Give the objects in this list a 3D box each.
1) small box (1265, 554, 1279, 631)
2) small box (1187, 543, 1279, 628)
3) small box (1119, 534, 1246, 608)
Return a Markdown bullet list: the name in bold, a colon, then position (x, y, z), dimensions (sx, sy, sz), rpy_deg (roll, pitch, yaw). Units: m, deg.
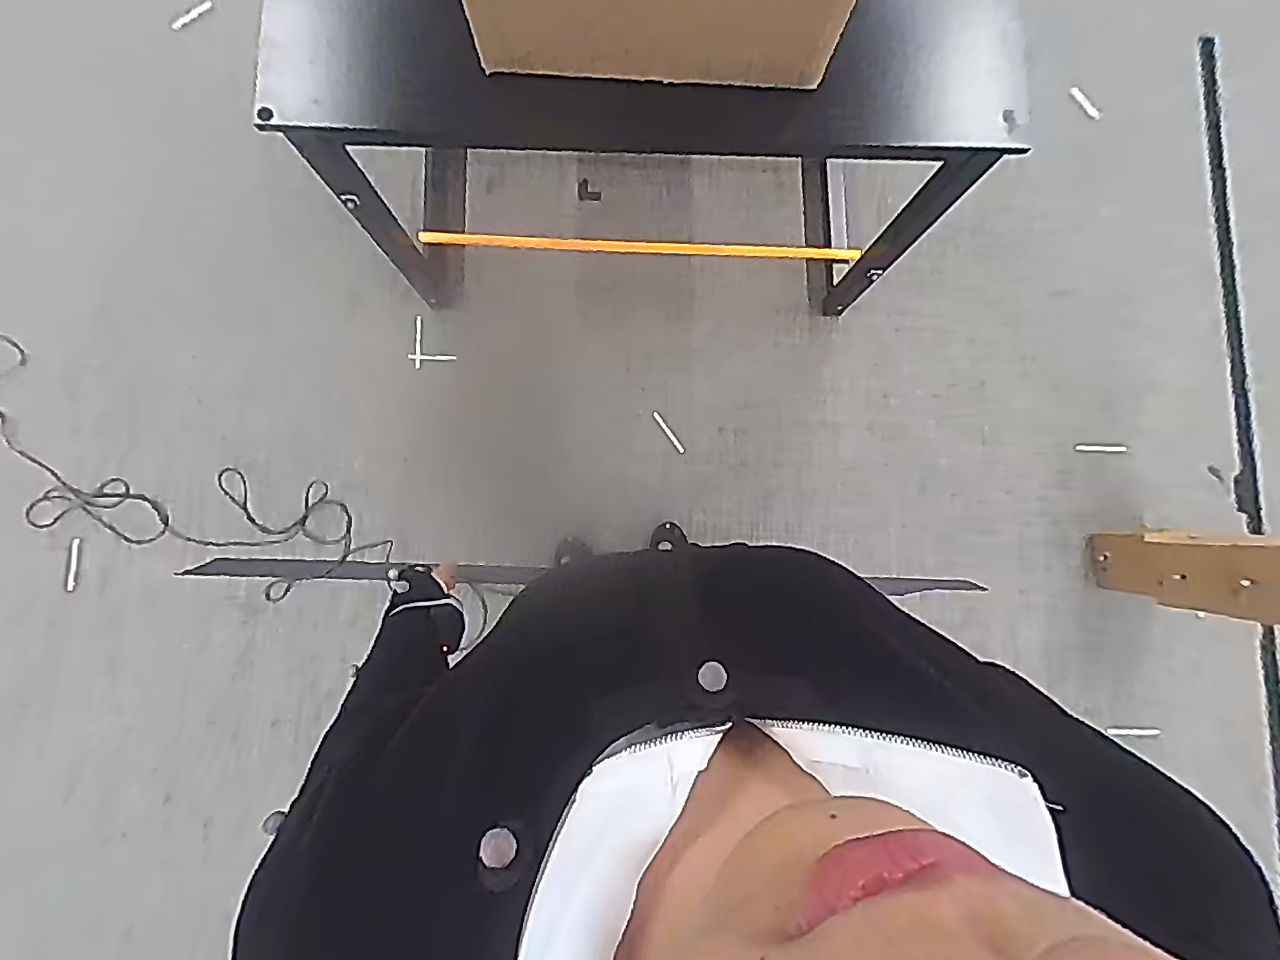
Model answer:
- **small box**: position (1.427, 0.230, 1.074), dimensions (0.179, 0.176, 0.168), rpy_deg (-2, 84, -2)
- **small box**: position (1.417, 0.236, 1.239), dimensions (0.179, 0.176, 0.168), rpy_deg (-7, 85, -2)
- **small box**: position (1.411, 0.231, 1.404), dimensions (0.179, 0.176, 0.168), rpy_deg (-6, 85, -2)
